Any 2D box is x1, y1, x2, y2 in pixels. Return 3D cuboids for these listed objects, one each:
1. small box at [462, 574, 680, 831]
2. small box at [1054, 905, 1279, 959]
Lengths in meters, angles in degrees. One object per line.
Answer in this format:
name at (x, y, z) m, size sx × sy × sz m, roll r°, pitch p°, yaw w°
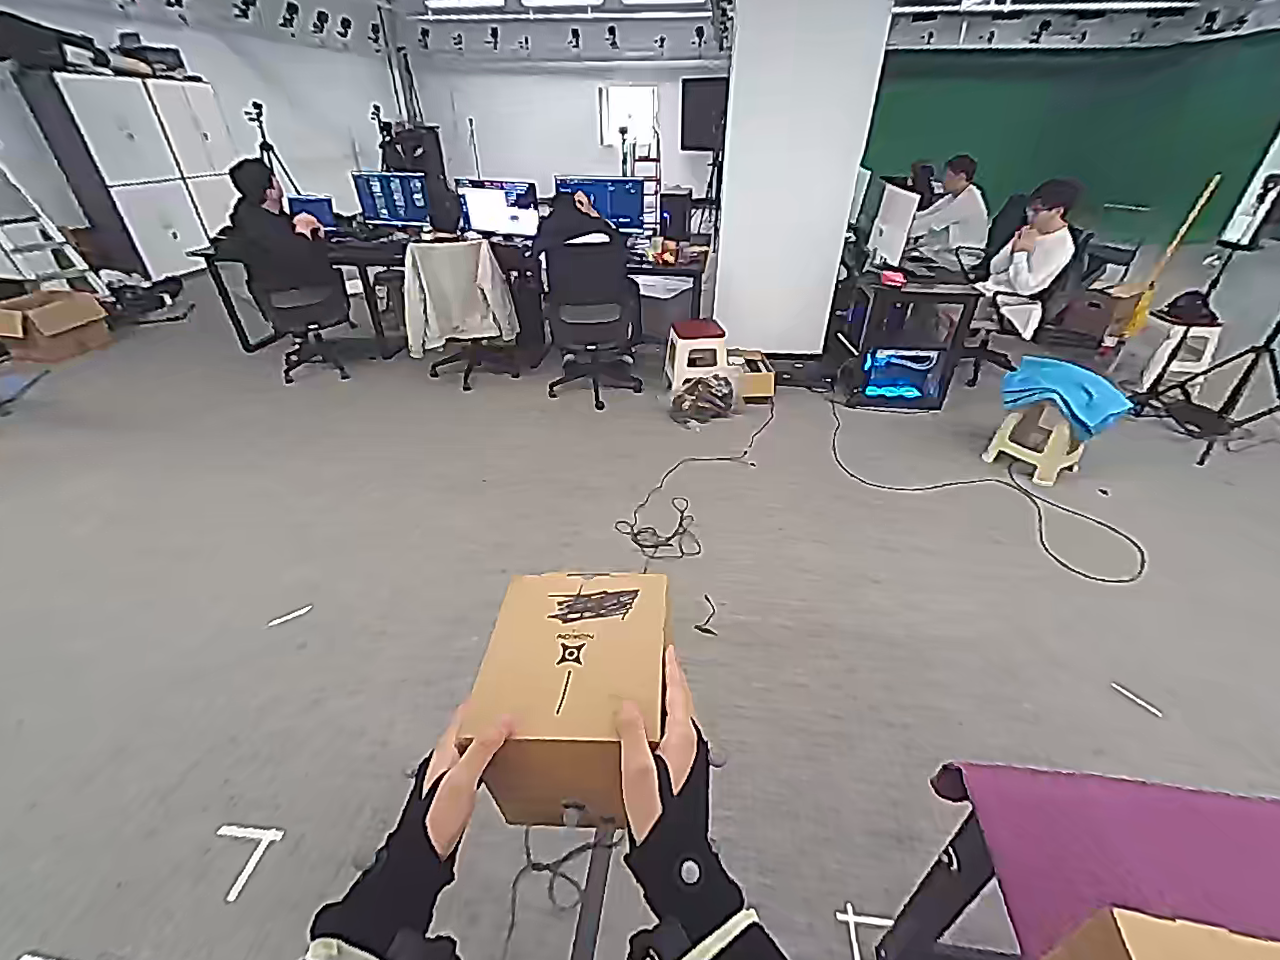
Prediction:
small box at (-0.049, 0.213, 0.534) m, size 0.168 × 0.176 × 0.179 m, roll -2°, pitch 37°, yaw 7°
small box at (0.528, 0.541, 0.494) m, size 0.168 × 0.176 × 0.179 m, roll 7°, pitch 34°, yaw 10°
